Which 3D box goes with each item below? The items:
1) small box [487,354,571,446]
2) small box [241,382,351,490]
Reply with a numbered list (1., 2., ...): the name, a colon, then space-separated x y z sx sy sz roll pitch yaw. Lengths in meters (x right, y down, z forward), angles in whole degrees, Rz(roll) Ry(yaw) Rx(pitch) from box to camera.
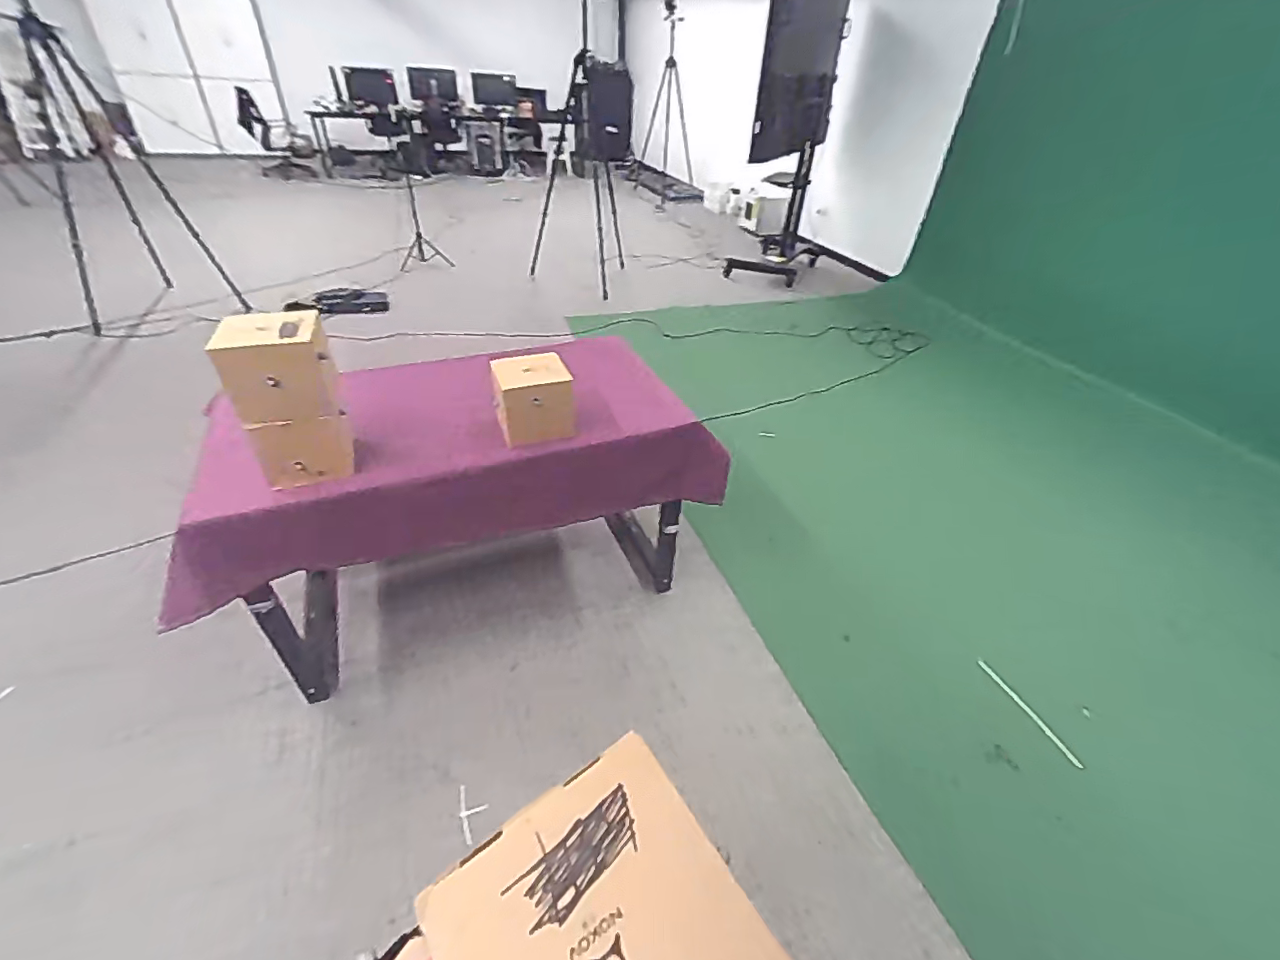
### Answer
1. small box: -0.283 -0.205 1.394 0.179 0.176 0.168 -12 41 -19
2. small box: -0.765 -0.101 1.223 0.168 0.176 0.179 -12 41 -20
